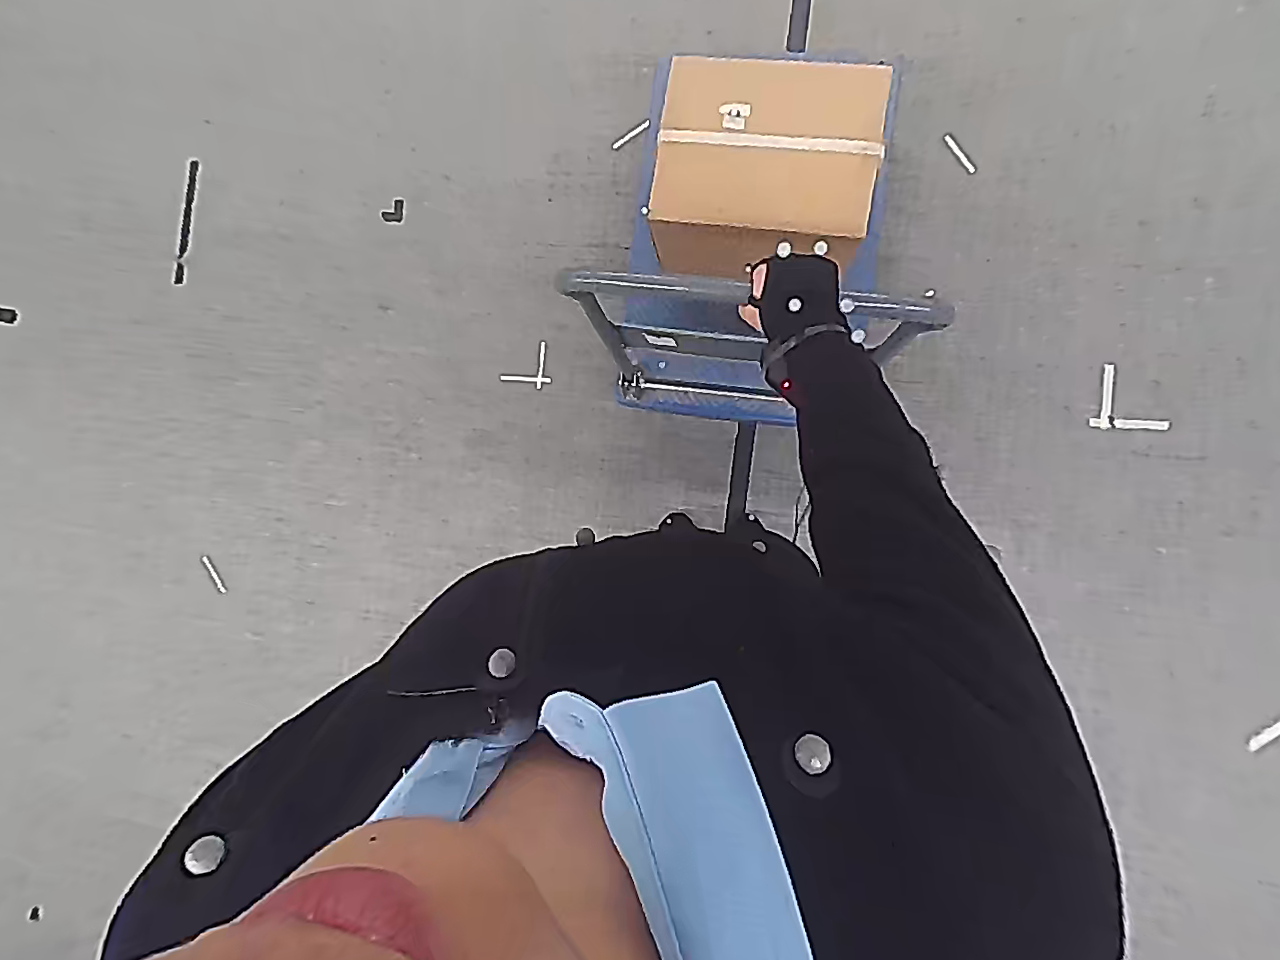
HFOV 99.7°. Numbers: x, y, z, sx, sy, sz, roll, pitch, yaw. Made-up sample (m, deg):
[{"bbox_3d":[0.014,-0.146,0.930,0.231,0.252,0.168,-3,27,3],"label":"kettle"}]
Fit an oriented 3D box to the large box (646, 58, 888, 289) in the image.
[{"bbox_3d":[0.251,-0.615,1.132,0.408,0.320,0.320,9,90,10],"label":"large box"}]
